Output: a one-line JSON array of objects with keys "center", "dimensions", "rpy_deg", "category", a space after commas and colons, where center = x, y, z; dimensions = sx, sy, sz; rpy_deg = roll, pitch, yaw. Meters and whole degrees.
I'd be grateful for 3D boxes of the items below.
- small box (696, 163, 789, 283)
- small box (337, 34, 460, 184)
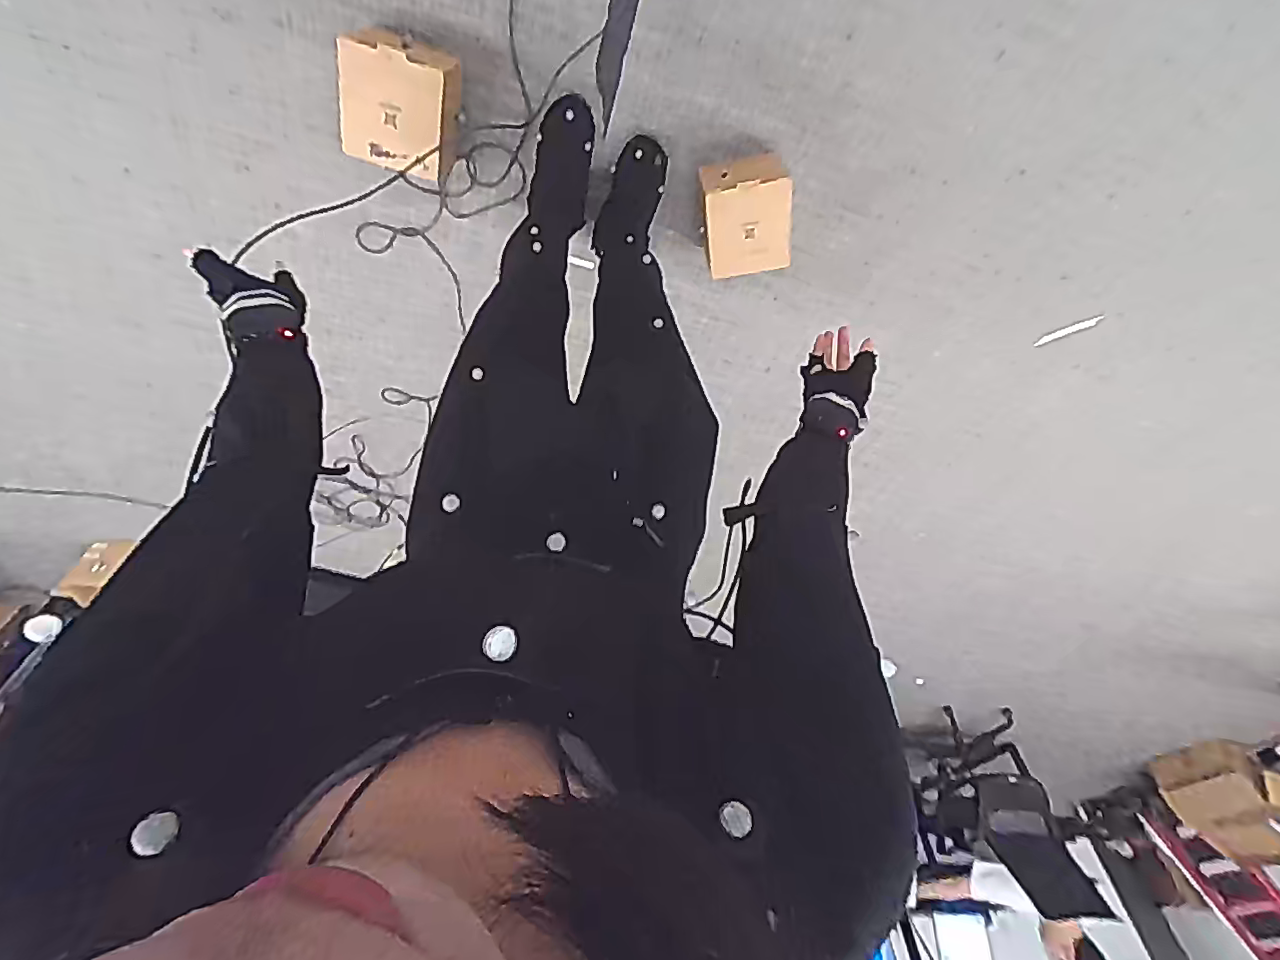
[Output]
[{"center": [0.210, -0.542, 1.130], "dimensions": [0.168, 0.176, 0.179], "rpy_deg": [-7, 134, 7], "category": "small box"}, {"center": [-0.429, -0.671, 0.975], "dimensions": [0.168, 0.176, 0.179], "rpy_deg": [12, 130, -14], "category": "small box"}]
